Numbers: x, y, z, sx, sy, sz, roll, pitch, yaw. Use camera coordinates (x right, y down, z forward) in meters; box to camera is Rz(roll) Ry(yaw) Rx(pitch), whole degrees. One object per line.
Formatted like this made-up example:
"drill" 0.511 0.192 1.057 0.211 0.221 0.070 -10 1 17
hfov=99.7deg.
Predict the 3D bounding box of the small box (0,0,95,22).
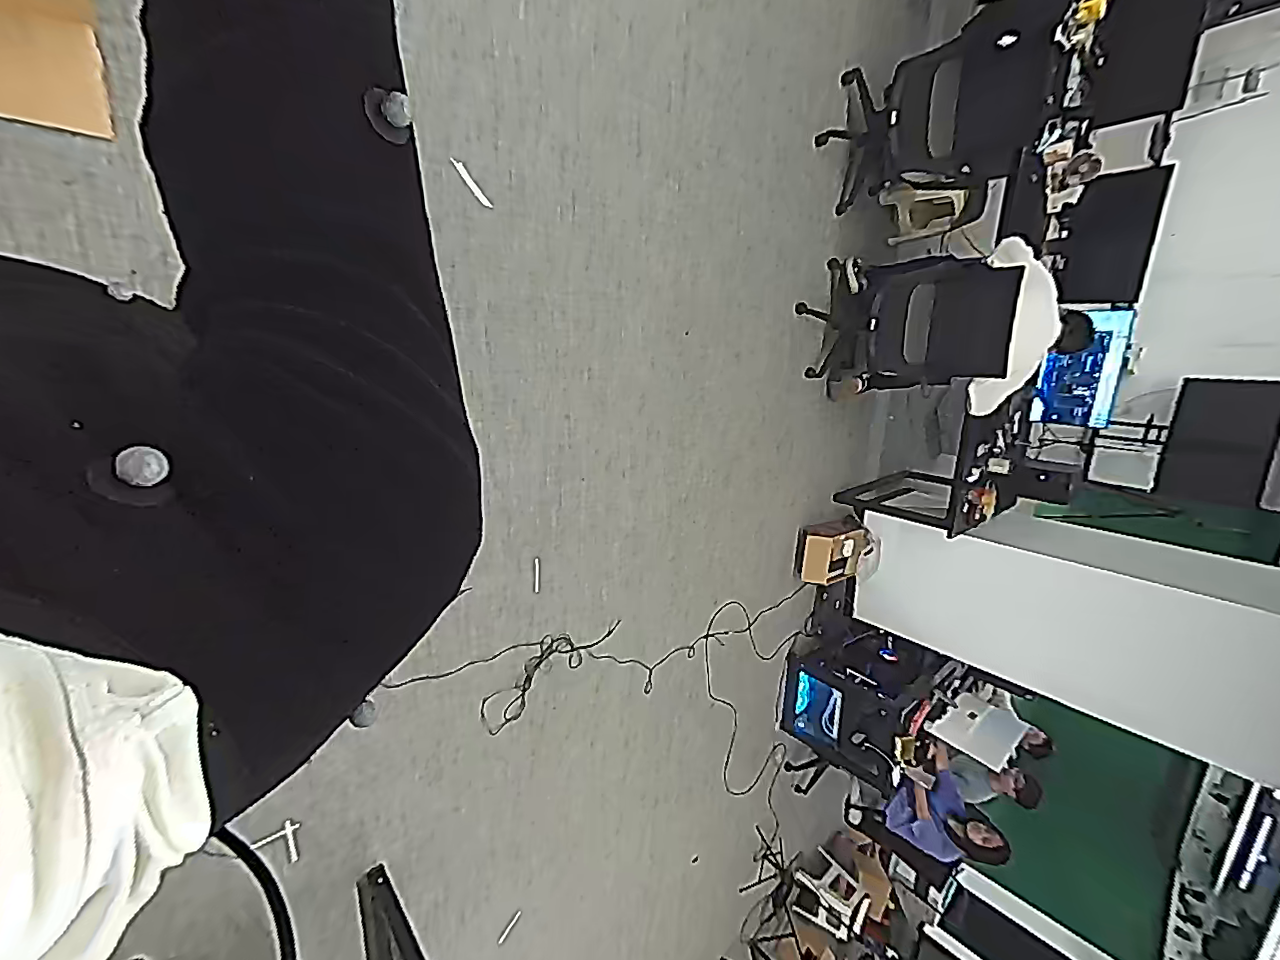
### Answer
"small box" -1.075 -0.921 0.915 0.179 0.176 0.168 -21 116 -38
